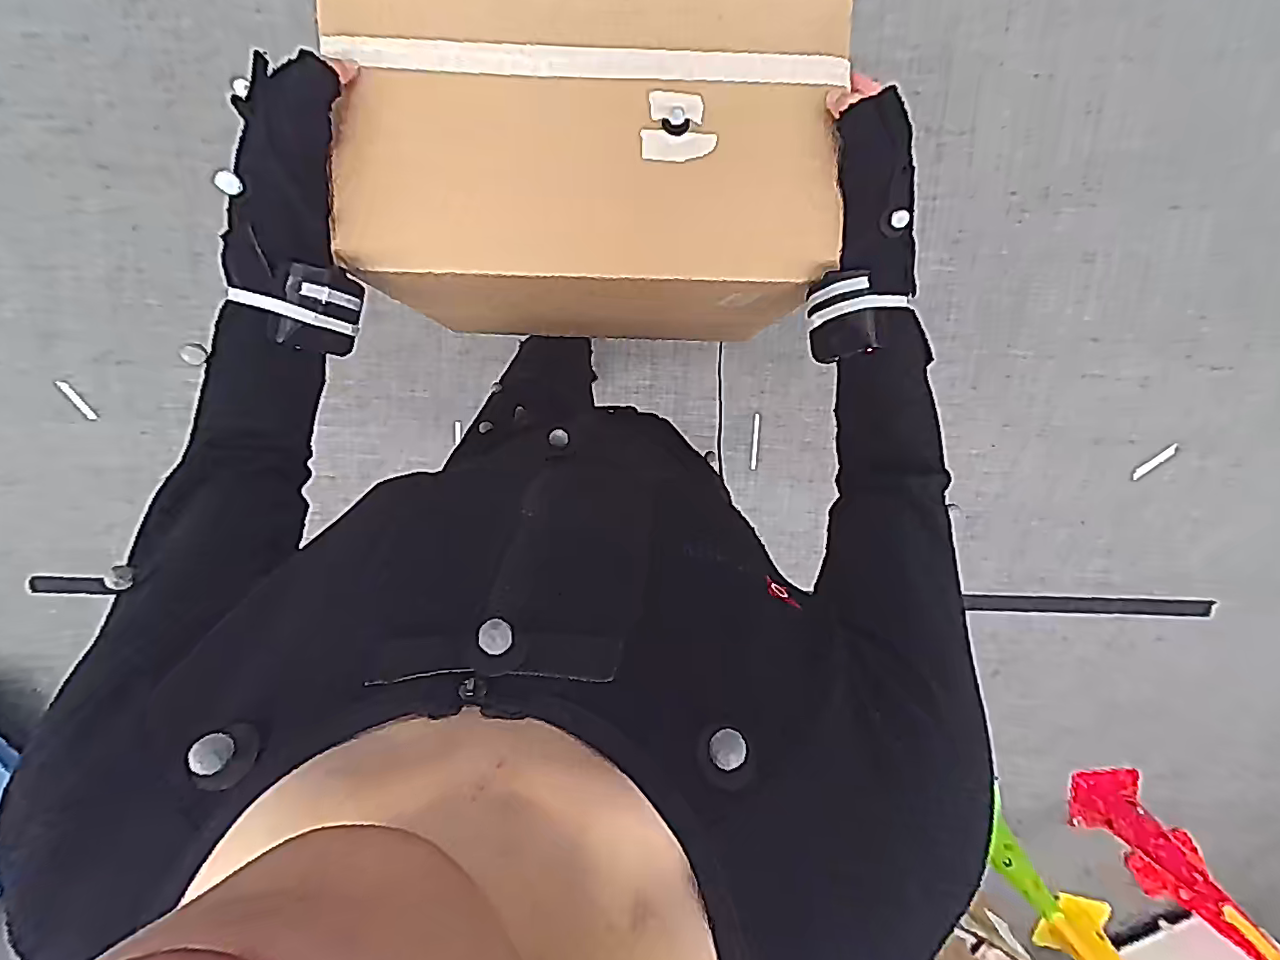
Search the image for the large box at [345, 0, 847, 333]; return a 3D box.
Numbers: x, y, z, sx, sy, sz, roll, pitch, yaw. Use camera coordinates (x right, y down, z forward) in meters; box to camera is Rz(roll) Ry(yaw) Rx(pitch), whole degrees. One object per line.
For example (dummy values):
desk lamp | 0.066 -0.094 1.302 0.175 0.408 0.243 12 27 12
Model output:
large box | -0.041 -0.342 0.580 0.408 0.320 0.320 0 96 -3
